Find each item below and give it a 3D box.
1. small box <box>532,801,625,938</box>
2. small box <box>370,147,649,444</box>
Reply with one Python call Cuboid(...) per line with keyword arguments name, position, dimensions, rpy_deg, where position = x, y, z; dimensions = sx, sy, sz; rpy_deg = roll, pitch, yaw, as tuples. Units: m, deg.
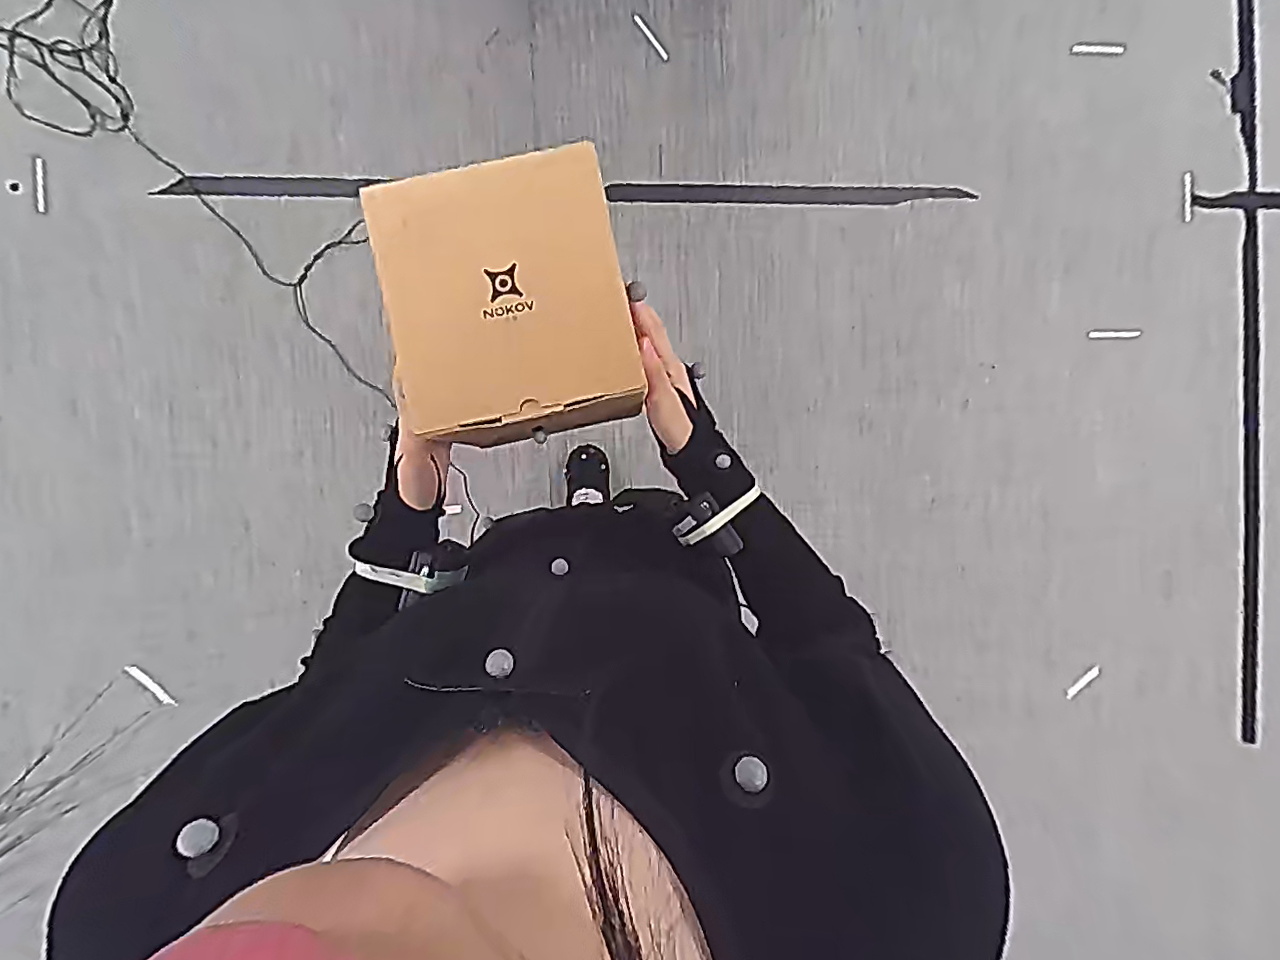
Cuboid(name="small box", position=(-0.124, 0.797, 1.125), dimensions=(0.179, 0.176, 0.168), rpy_deg=(-3, 90, -2))
Cuboid(name="small box", position=(-0.093, -0.133, 0.454), dimensions=(0.168, 0.176, 0.179), rpy_deg=(-12, 92, -1))
